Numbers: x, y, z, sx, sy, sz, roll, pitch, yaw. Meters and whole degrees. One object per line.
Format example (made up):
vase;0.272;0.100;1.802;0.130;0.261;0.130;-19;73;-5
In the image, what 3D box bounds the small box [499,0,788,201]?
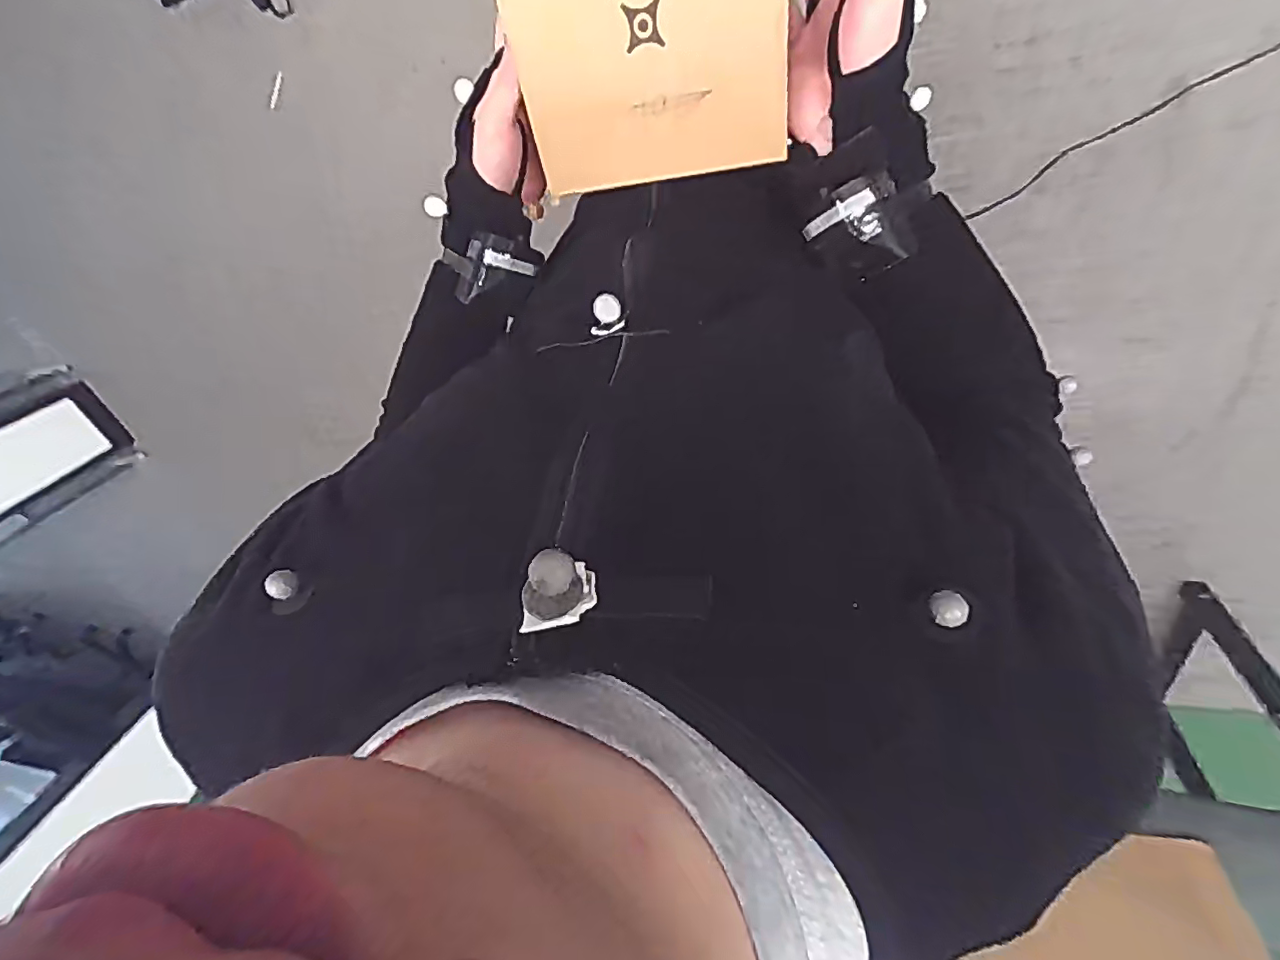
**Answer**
small box;0.011;-0.321;0.367;0.168;0.176;0.179;-1;138;12
